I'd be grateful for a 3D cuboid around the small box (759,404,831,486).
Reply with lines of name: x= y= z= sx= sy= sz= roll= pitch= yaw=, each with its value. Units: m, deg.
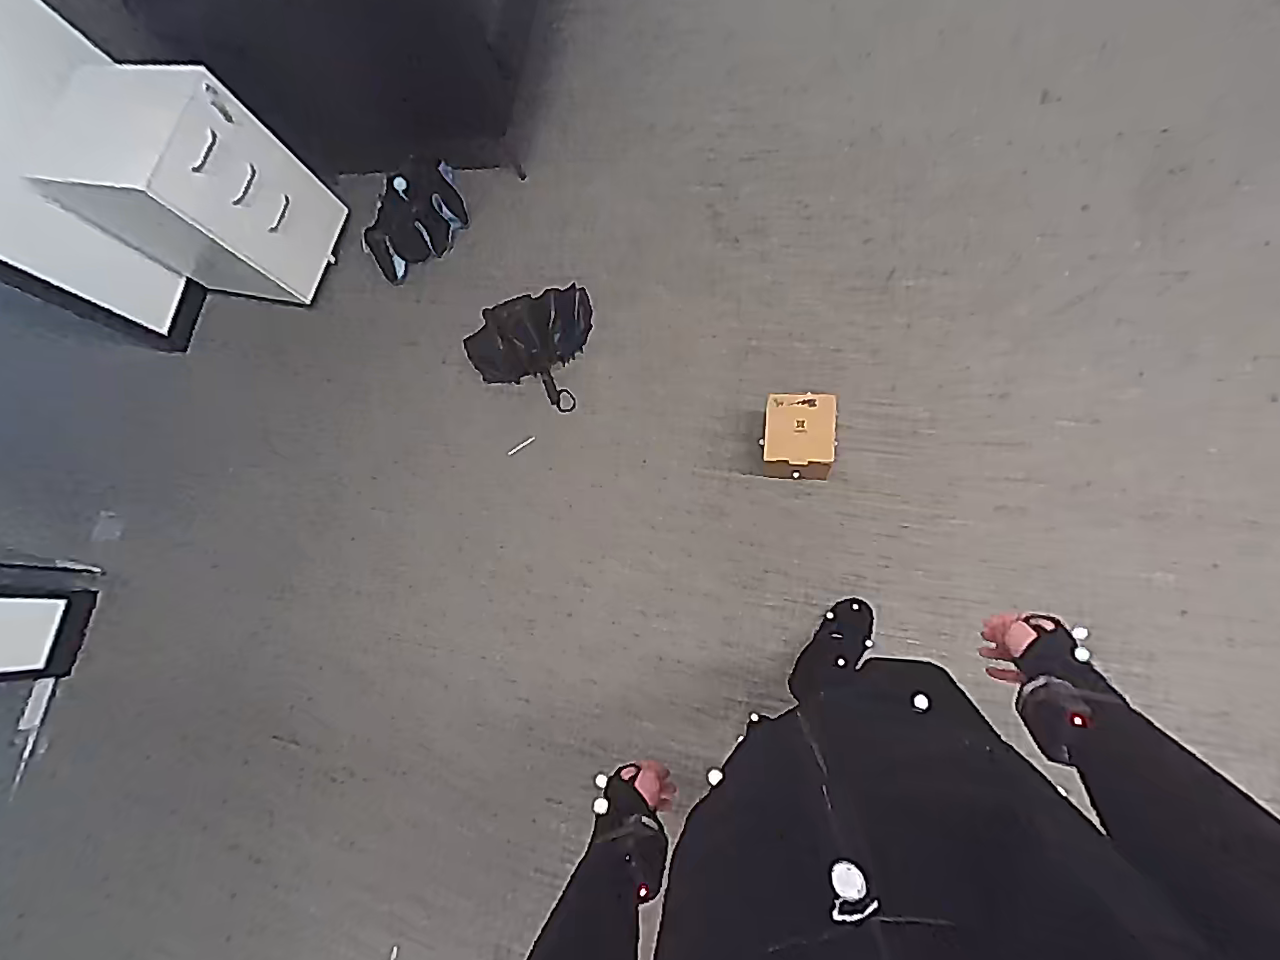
small box: x=0.401 y=-0.085 z=1.405 sx=0.168 sy=0.176 sz=0.179 roll=3 pitch=77 yaw=14
